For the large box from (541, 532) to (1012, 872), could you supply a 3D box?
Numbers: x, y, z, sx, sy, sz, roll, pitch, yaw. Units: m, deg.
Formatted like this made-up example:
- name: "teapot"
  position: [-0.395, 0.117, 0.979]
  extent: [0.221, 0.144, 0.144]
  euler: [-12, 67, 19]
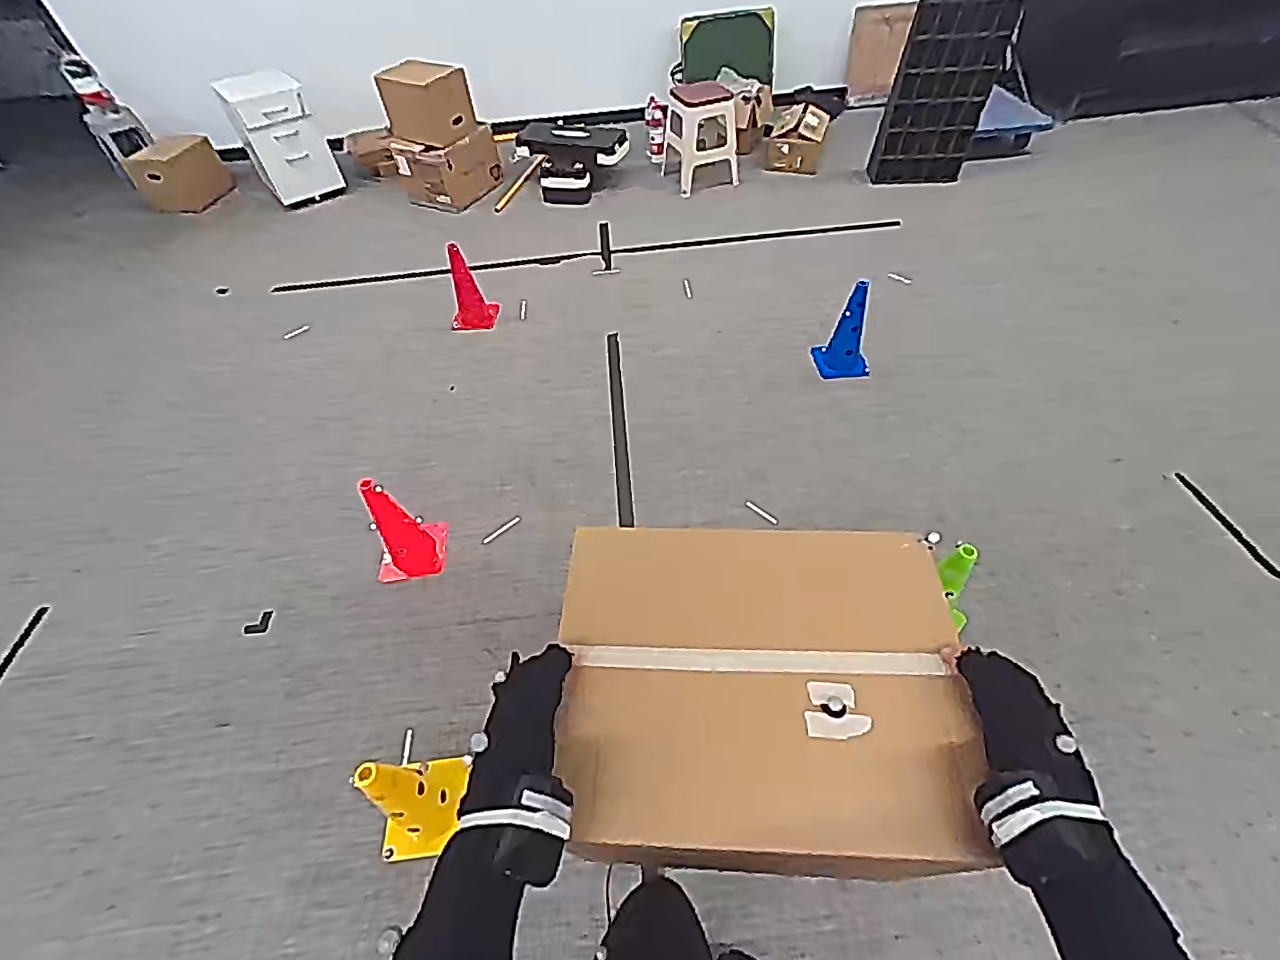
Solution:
- name: "large box"
  position: [0.120, 0.276, 0.661]
  extent: [0.408, 0.320, 0.320]
  euler: [0, 52, 4]

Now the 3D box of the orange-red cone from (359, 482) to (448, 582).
- name: "orange-red cone"
  position: [-0.739, 0.129, 1.621]
  extent: [0.198, 0.360, 0.199]
  euler: [-9, 52, -1]

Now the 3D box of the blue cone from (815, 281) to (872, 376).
- name: "blue cone"
  position: [0.823, -0.597, 2.106]
  extent: [0.192, 0.380, 0.193]
  euler: [-3, 51, 1]

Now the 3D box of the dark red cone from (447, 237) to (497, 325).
- name: "dark red cone"
  position: [-0.789, -0.892, 2.425]
  extent: [0.201, 0.394, 0.202]
  euler: [-1, 51, 2]
